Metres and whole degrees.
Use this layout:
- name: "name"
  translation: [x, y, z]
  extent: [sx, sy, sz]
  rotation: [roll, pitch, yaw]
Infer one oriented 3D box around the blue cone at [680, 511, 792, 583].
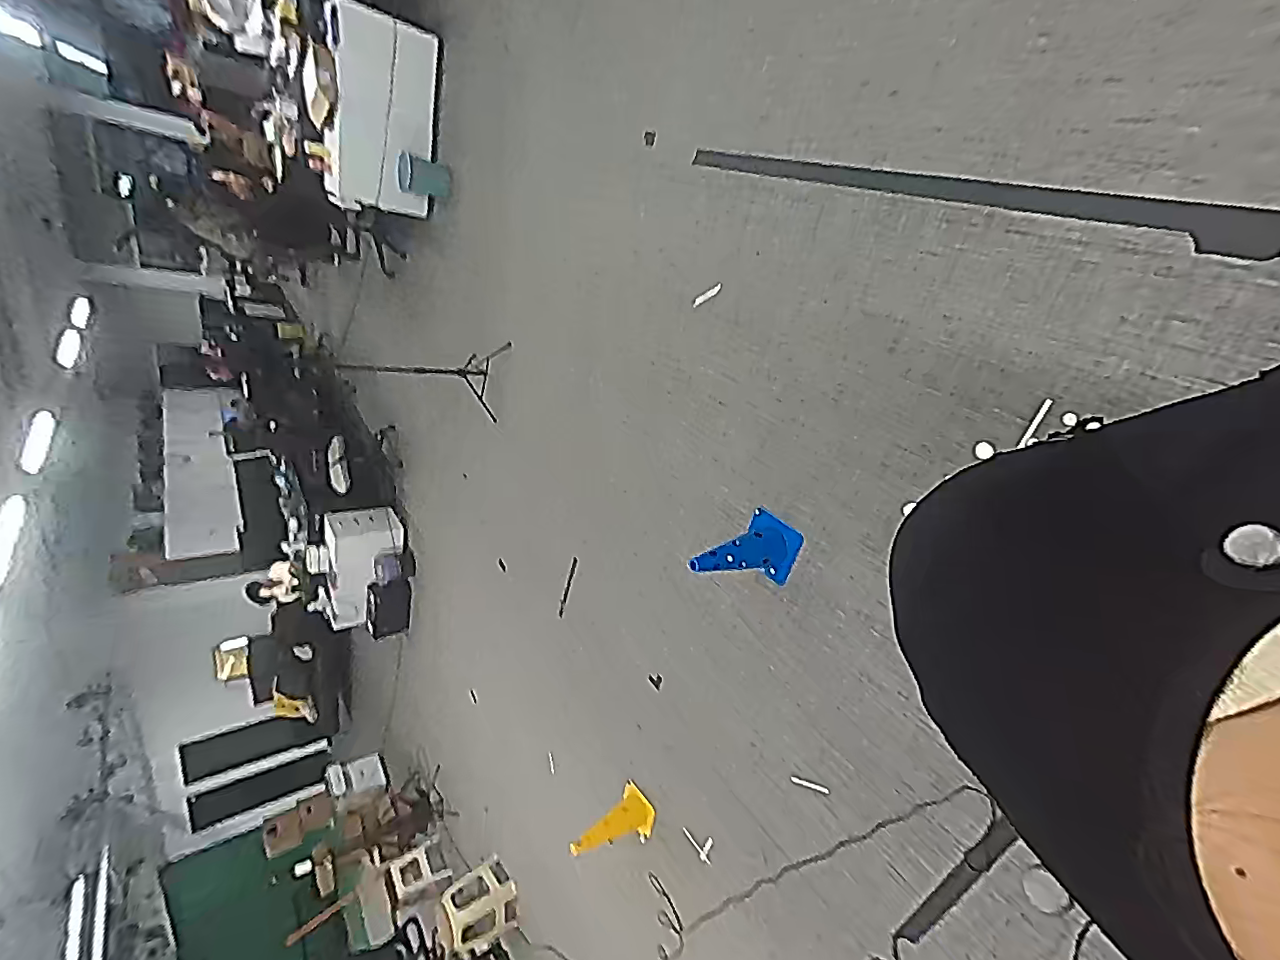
- name: "blue cone"
  translation: [0.278, 0.233, 1.668]
  extent: [0.192, 0.380, 0.193]
  rotation: [42, 125, 41]
